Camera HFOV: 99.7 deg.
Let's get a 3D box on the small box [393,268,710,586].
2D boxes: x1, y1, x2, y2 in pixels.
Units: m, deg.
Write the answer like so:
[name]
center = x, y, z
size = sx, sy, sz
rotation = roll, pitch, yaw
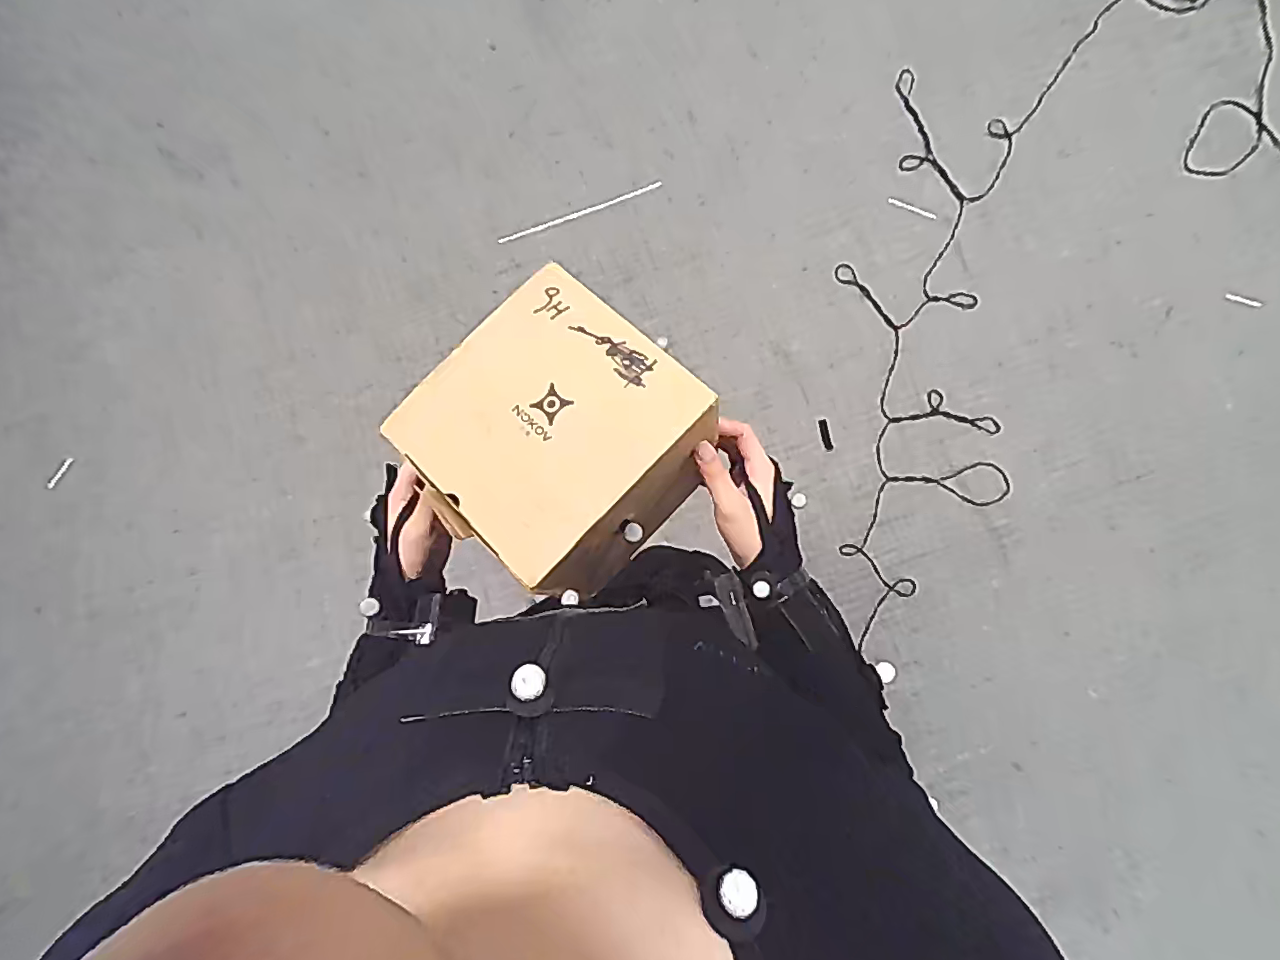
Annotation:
[small box]
center = -0.053, -0.027, 0.452
size = 0.168, 0.176, 0.179
rotation = 41, 86, 15
